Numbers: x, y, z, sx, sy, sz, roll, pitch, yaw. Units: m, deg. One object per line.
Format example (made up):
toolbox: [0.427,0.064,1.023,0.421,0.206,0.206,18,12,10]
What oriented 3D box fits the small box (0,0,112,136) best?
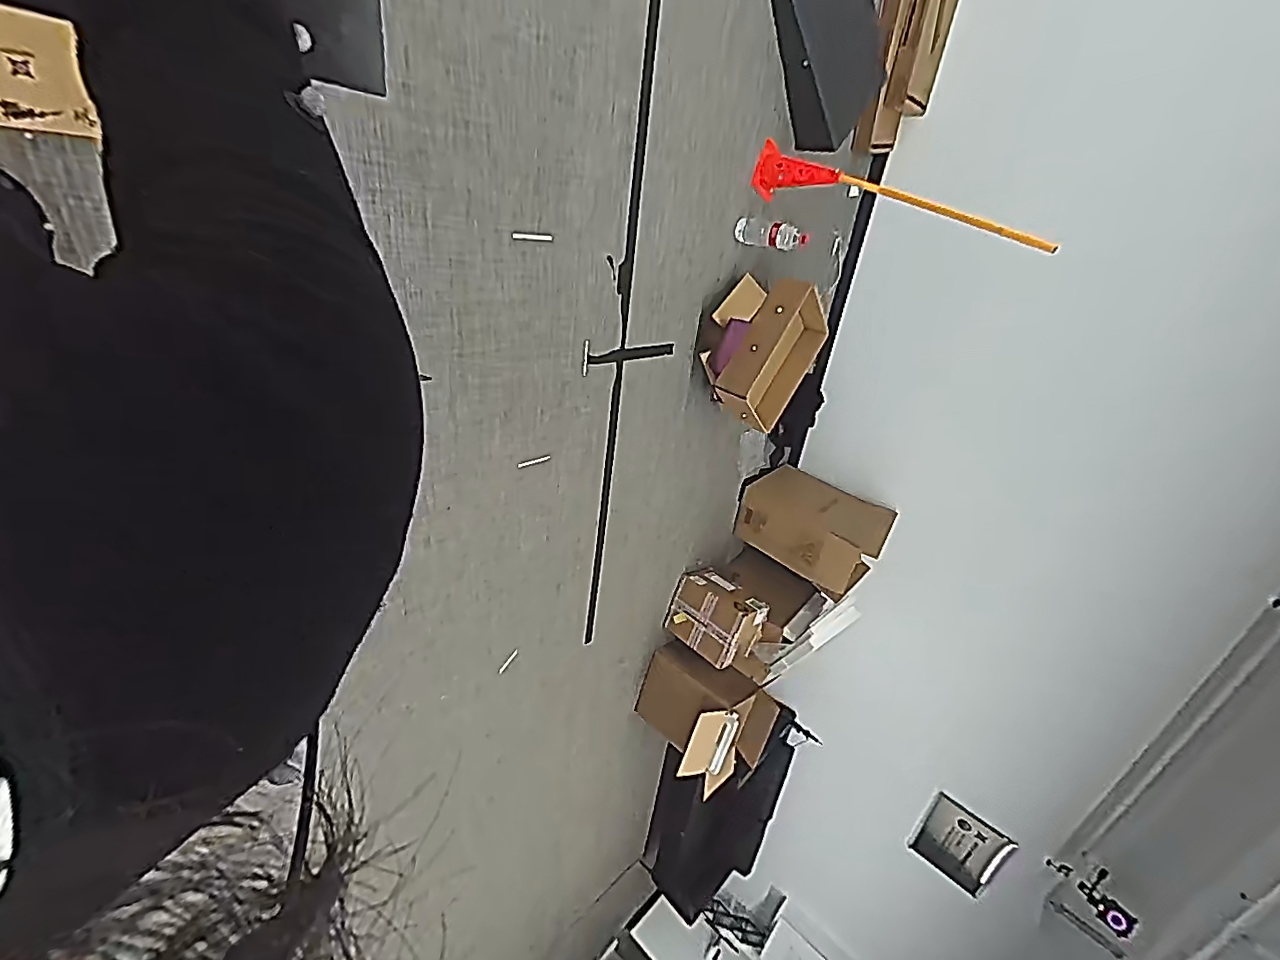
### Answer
small box: [-0.956,-0.642,0.824,0.168,0.176,0.179,-21,129,-42]
